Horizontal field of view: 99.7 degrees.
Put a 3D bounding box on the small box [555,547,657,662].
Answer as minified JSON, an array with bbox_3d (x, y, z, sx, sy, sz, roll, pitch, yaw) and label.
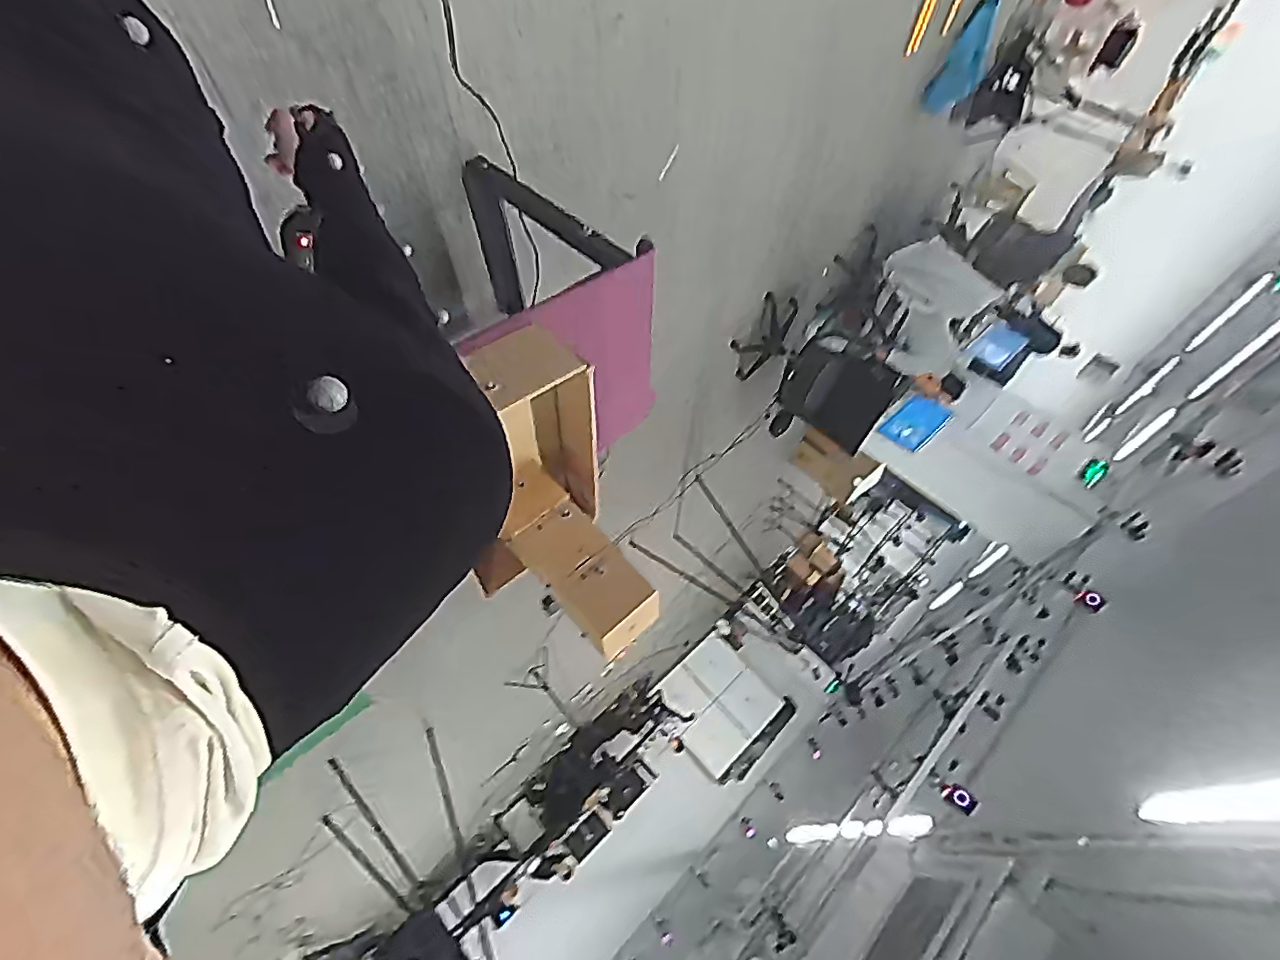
[{"bbox_3d":[-0.078,0.288,1.267,0.168,0.176,0.179,-37,151,-22],"label":"small box"}]

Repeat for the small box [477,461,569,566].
[{"bbox_3d":[-0.295,0.085,1.402,0.168,0.176,0.179,-36,151,-22],"label":"small box"}]

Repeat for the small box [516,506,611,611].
[{"bbox_3d":[-0.185,0.189,1.338,0.168,0.176,0.179,-36,153,-22],"label":"small box"}]
